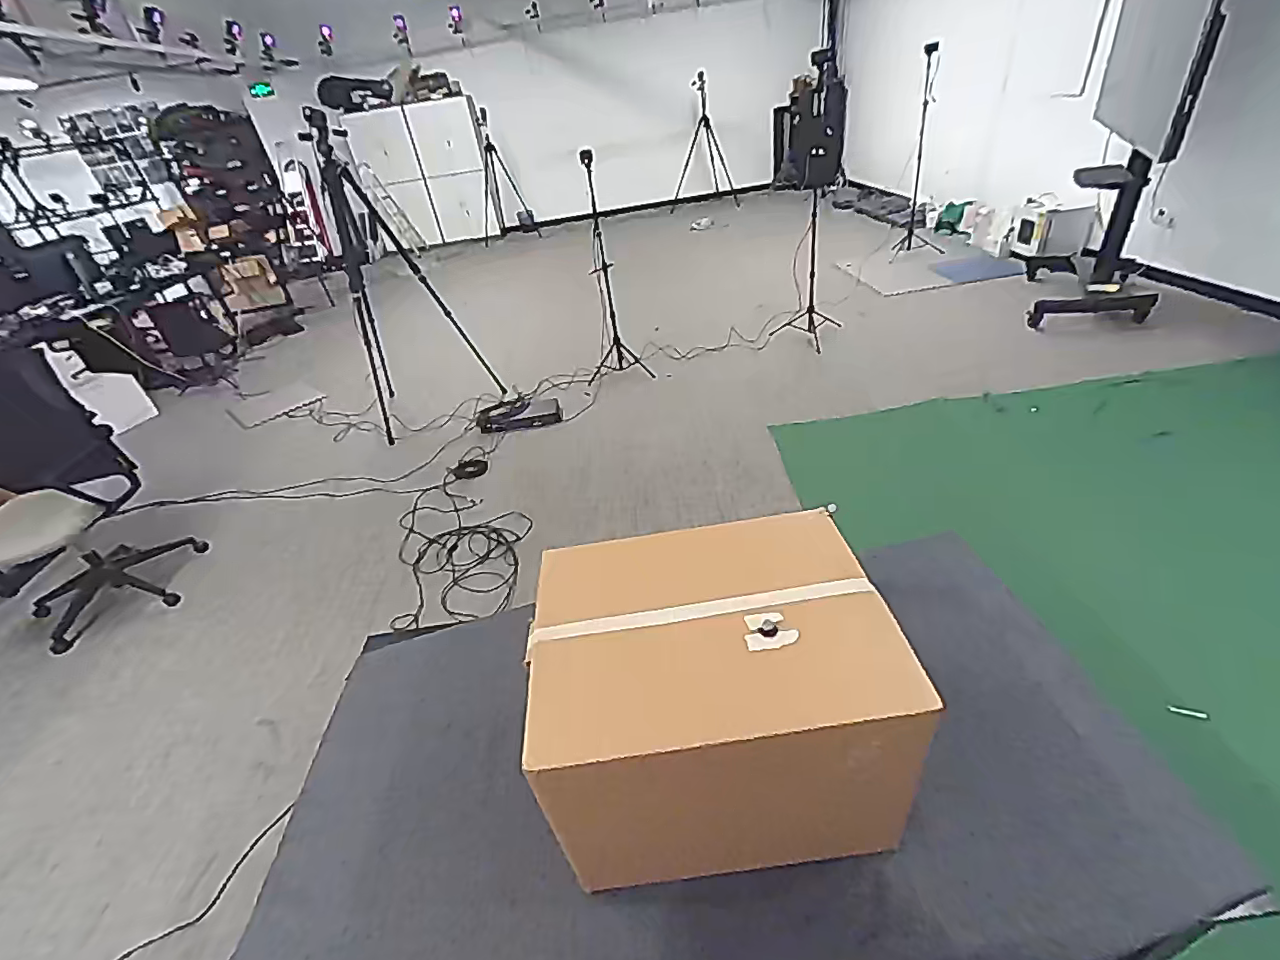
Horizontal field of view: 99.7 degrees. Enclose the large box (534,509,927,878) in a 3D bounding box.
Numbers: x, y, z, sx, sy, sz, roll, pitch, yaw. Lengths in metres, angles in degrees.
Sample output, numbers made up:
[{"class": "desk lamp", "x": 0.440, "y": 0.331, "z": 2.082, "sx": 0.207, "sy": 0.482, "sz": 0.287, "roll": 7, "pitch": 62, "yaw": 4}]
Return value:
[{"class": "large box", "x": 0.094, "y": 0.279, "z": 0.735, "sx": 0.408, "sy": 0.320, "sz": 0.320, "roll": -9, "pitch": 36, "yaw": 0}]
